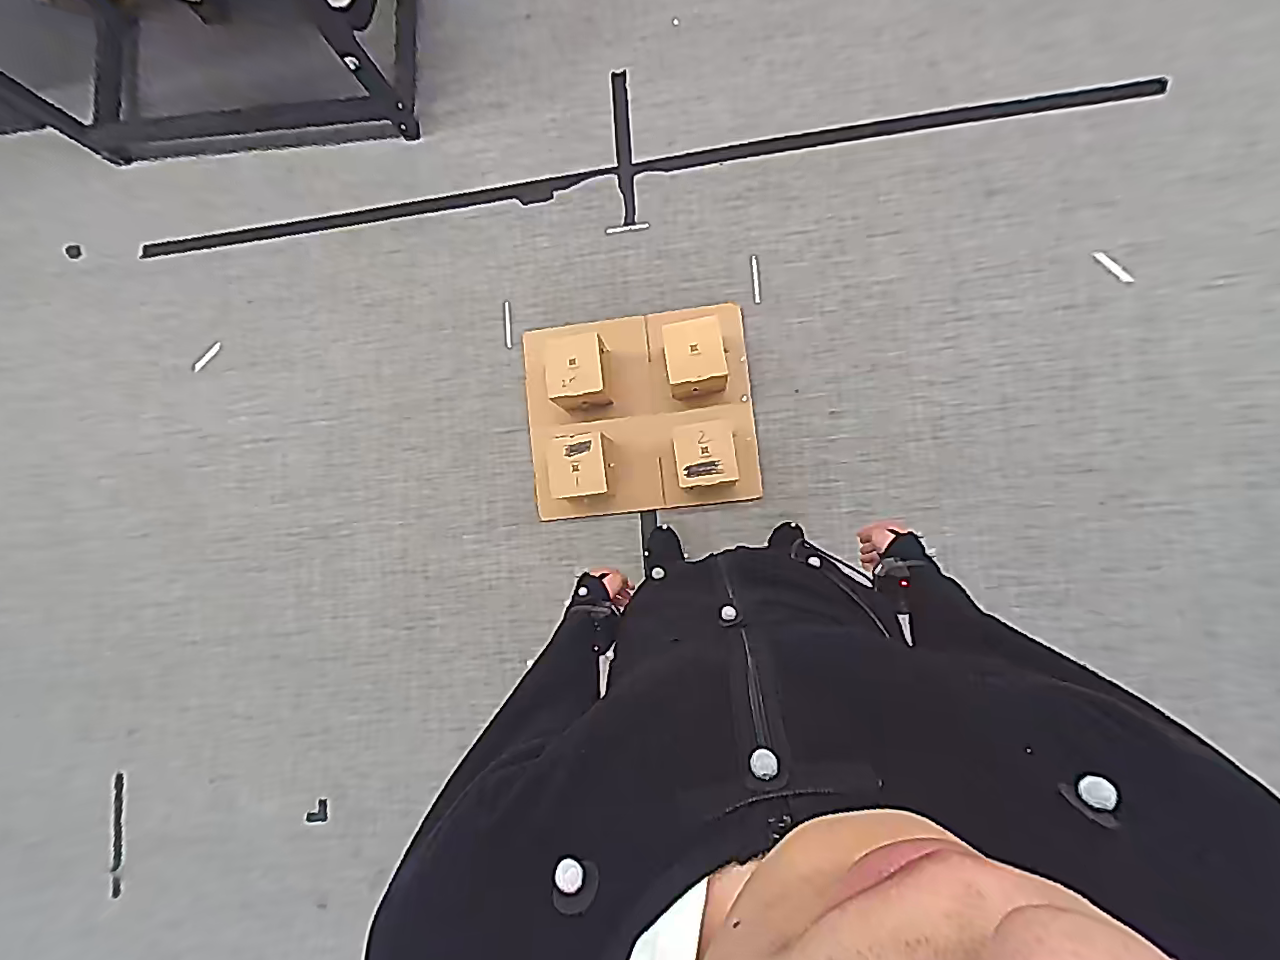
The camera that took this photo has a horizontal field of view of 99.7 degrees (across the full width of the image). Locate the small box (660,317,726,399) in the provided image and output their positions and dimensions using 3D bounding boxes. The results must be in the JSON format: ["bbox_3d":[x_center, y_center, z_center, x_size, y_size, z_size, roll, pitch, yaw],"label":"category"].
[{"bbox_3d":[0.155,-0.353,1.588,0.168,0.176,0.179,-10,85,6],"label":"small box"}]

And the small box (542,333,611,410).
[{"bbox_3d":[-0.186,-0.318,1.619,0.168,0.176,0.179,-7,86,7],"label":"small box"}]

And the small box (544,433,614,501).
[{"bbox_3d":[-0.175,-0.034,1.600,0.168,0.176,0.179,-8,86,7],"label":"small box"}]
